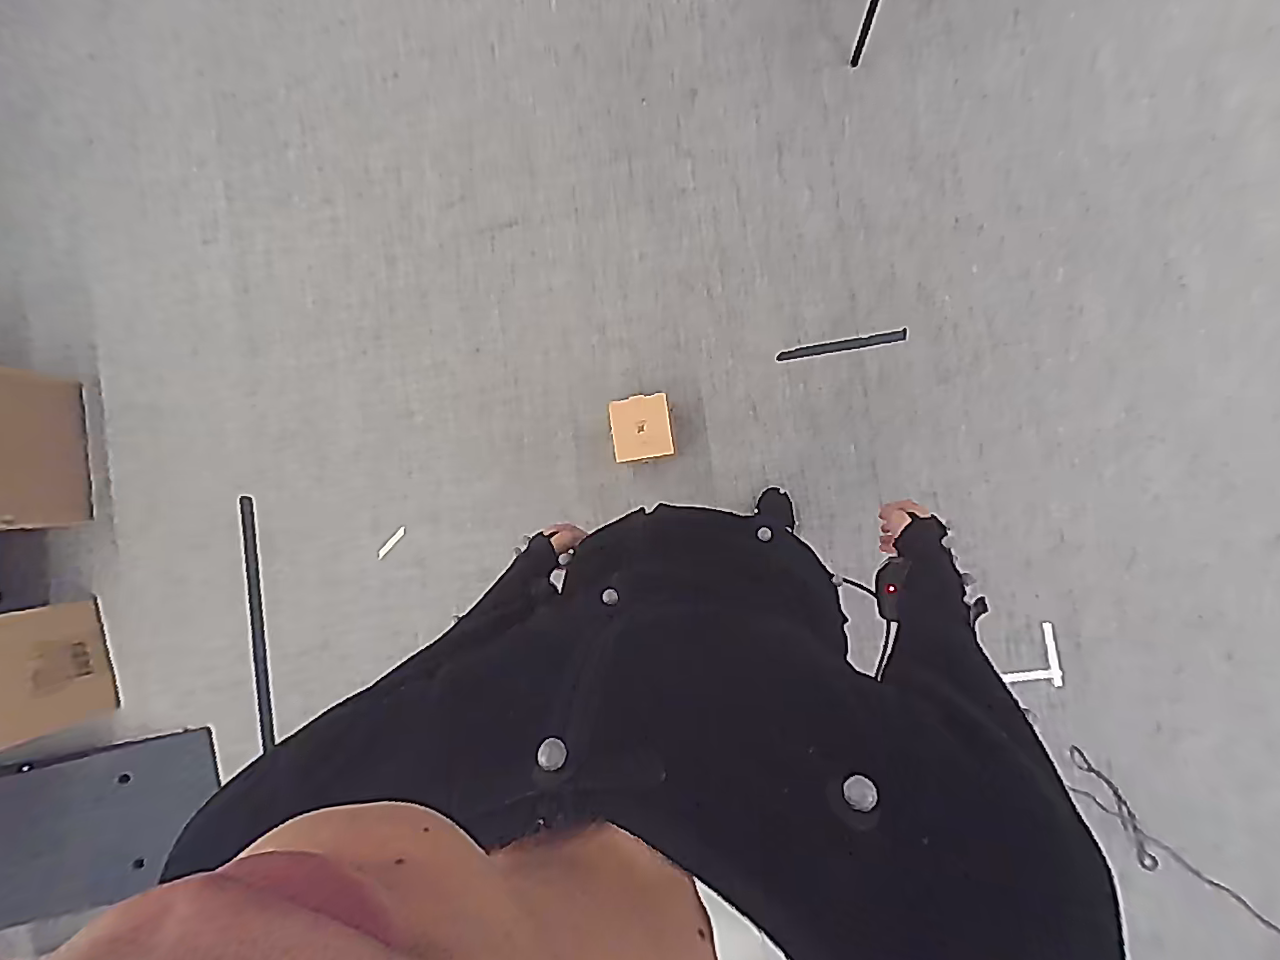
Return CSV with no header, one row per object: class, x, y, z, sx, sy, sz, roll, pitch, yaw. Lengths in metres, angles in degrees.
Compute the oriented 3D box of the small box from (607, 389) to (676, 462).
small box,0.009,-0.152,1.568,0.168,0.176,0.179,-8,88,9
